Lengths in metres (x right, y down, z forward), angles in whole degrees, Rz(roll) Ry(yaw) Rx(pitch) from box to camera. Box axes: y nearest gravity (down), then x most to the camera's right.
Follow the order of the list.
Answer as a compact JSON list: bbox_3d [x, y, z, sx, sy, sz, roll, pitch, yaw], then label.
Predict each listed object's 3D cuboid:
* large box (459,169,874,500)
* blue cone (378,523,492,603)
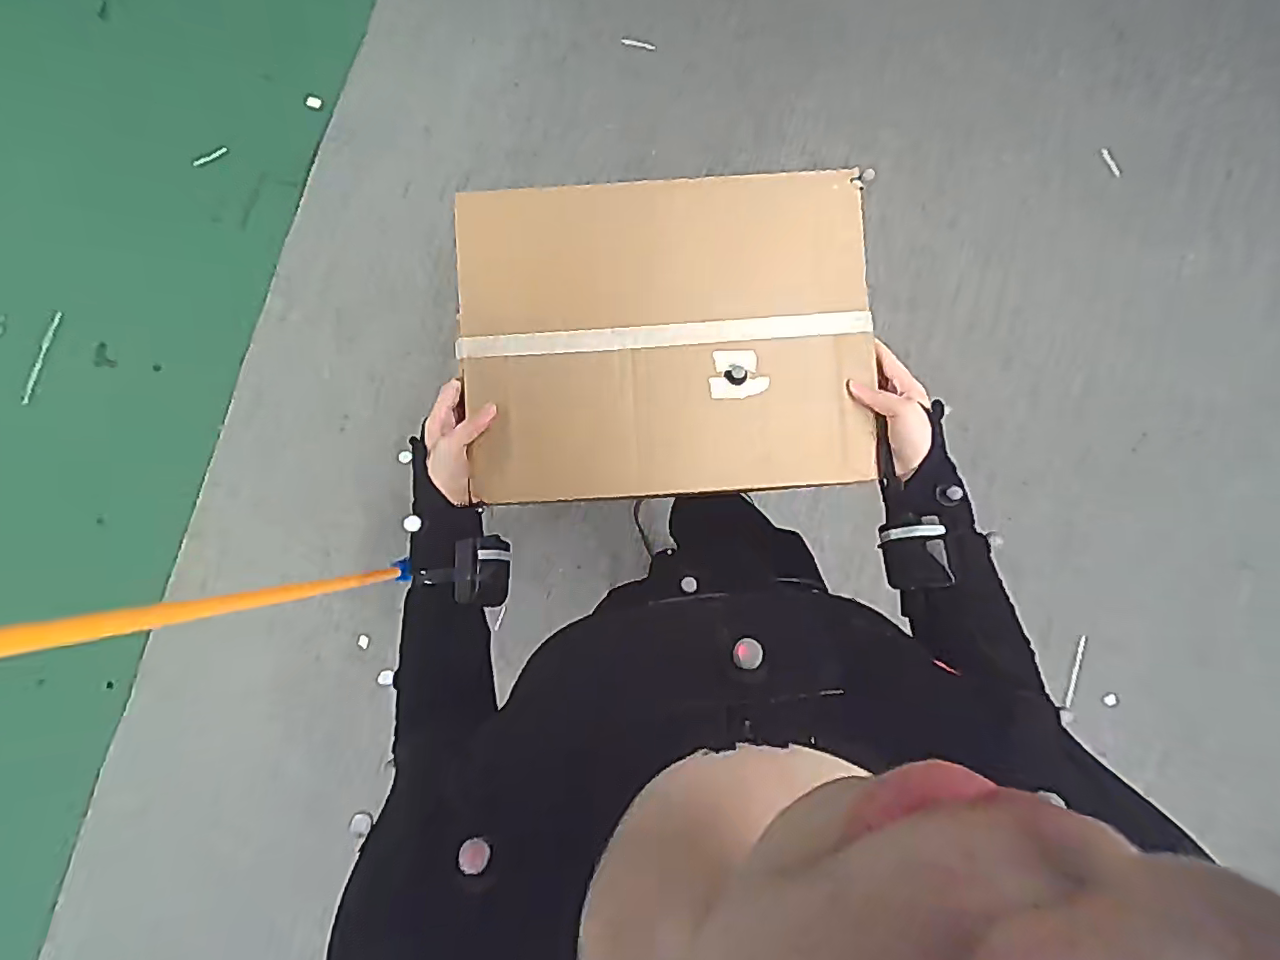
[{"bbox_3d":[0.022,-0.144,0.687,0.408,0.320,0.320,-4,88,-1],"label":"large box"},{"bbox_3d":[-0.542,0.220,1.380,0.192,0.380,0.193,24,86,6],"label":"blue cone"}]
